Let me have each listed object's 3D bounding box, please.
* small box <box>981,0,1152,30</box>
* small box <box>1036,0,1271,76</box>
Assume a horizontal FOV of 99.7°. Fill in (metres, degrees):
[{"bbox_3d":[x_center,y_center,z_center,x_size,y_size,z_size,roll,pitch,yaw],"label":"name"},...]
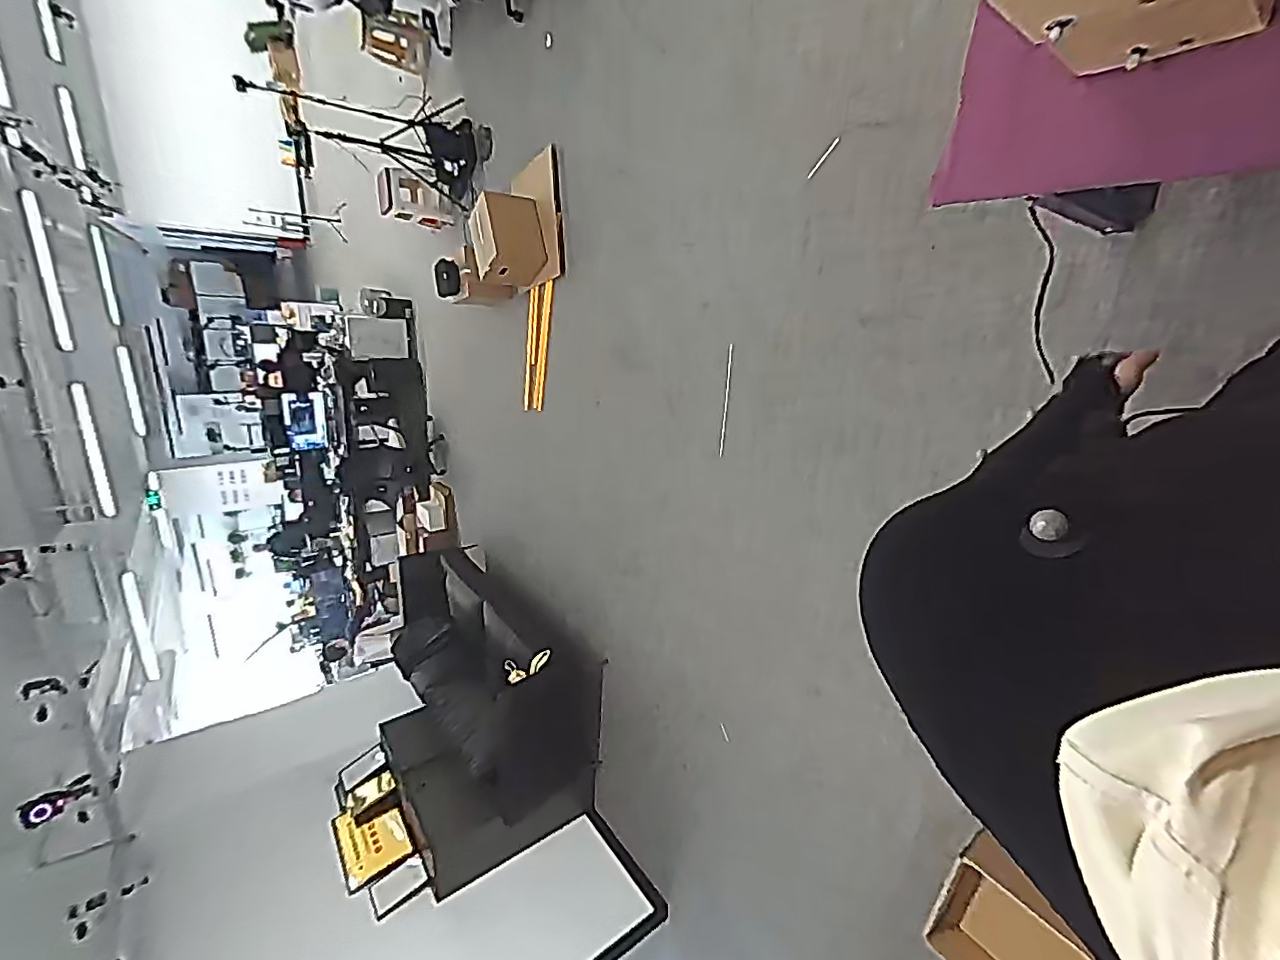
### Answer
[{"bbox_3d":[0.433,-0.546,0.482,0.168,0.176,0.179,22,114,50],"label":"small box"},{"bbox_3d":[0.564,-0.576,0.575,0.168,0.176,0.179,23,116,50],"label":"small box"}]
